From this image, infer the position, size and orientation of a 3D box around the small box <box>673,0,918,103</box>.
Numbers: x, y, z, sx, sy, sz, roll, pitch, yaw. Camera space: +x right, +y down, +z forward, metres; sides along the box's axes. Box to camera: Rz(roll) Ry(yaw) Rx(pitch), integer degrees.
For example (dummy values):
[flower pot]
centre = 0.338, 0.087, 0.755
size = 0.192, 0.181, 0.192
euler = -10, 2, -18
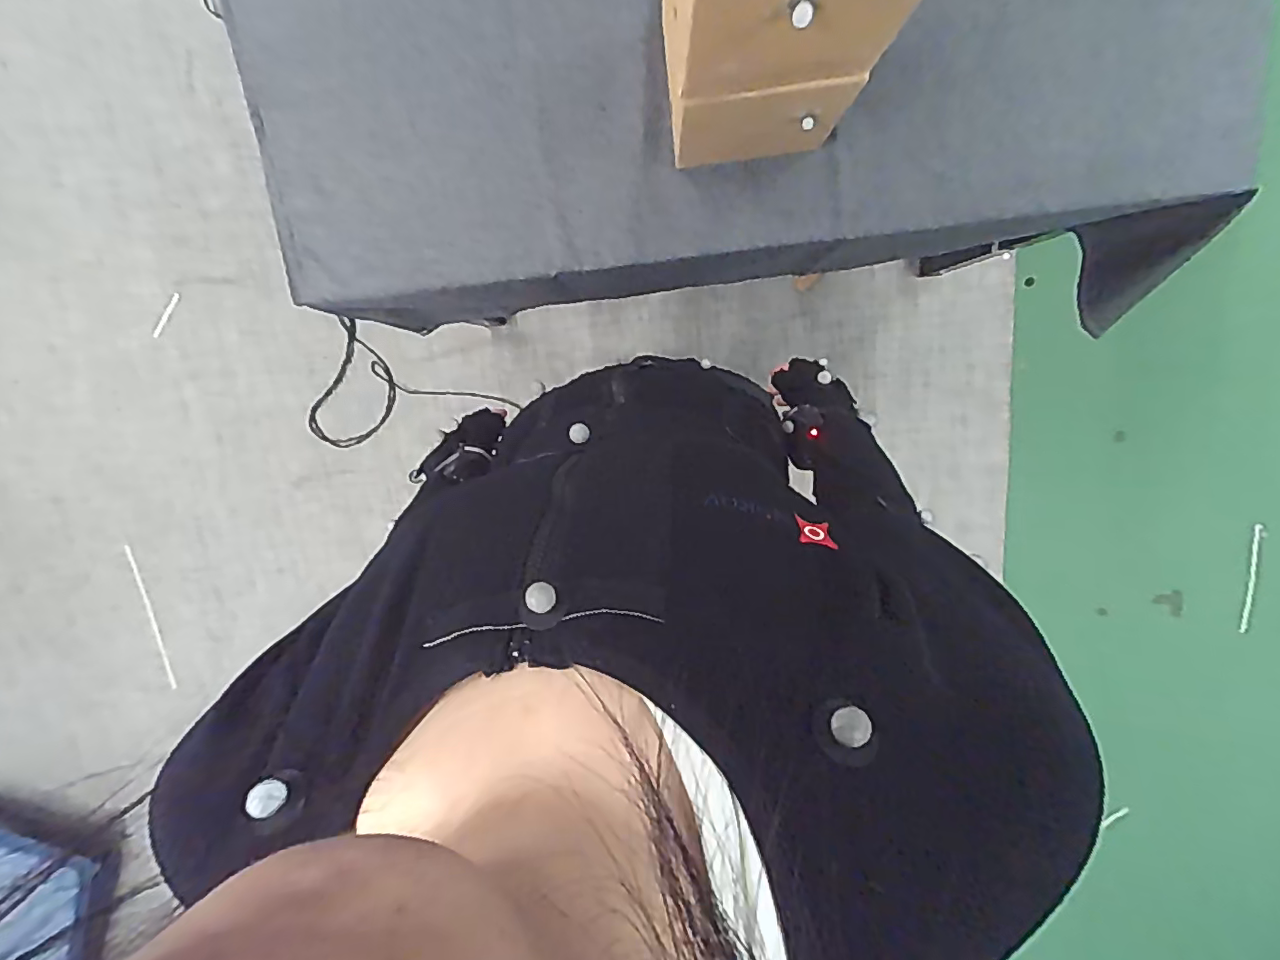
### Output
[small box]
centre = 0.114, -0.424, 0.411
size = 0.179, 0.176, 0.168
euler = -7, 101, 4
